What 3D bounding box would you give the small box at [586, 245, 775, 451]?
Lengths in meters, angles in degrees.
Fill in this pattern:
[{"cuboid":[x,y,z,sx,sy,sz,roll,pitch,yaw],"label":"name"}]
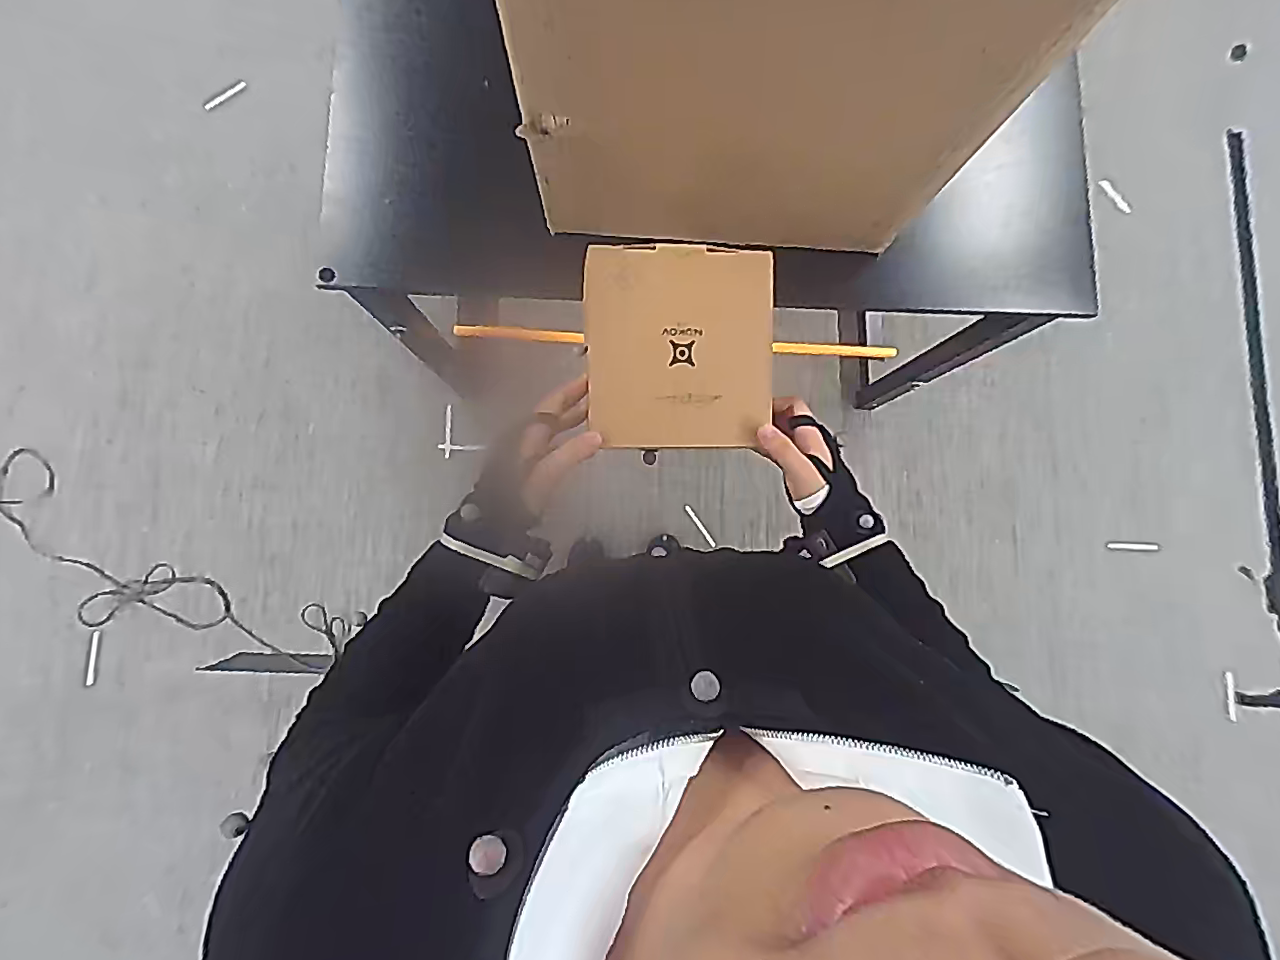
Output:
[{"cuboid":[0.029,-0.118,0.553,0.168,0.176,0.179,-1,94,-6],"label":"small box"}]
